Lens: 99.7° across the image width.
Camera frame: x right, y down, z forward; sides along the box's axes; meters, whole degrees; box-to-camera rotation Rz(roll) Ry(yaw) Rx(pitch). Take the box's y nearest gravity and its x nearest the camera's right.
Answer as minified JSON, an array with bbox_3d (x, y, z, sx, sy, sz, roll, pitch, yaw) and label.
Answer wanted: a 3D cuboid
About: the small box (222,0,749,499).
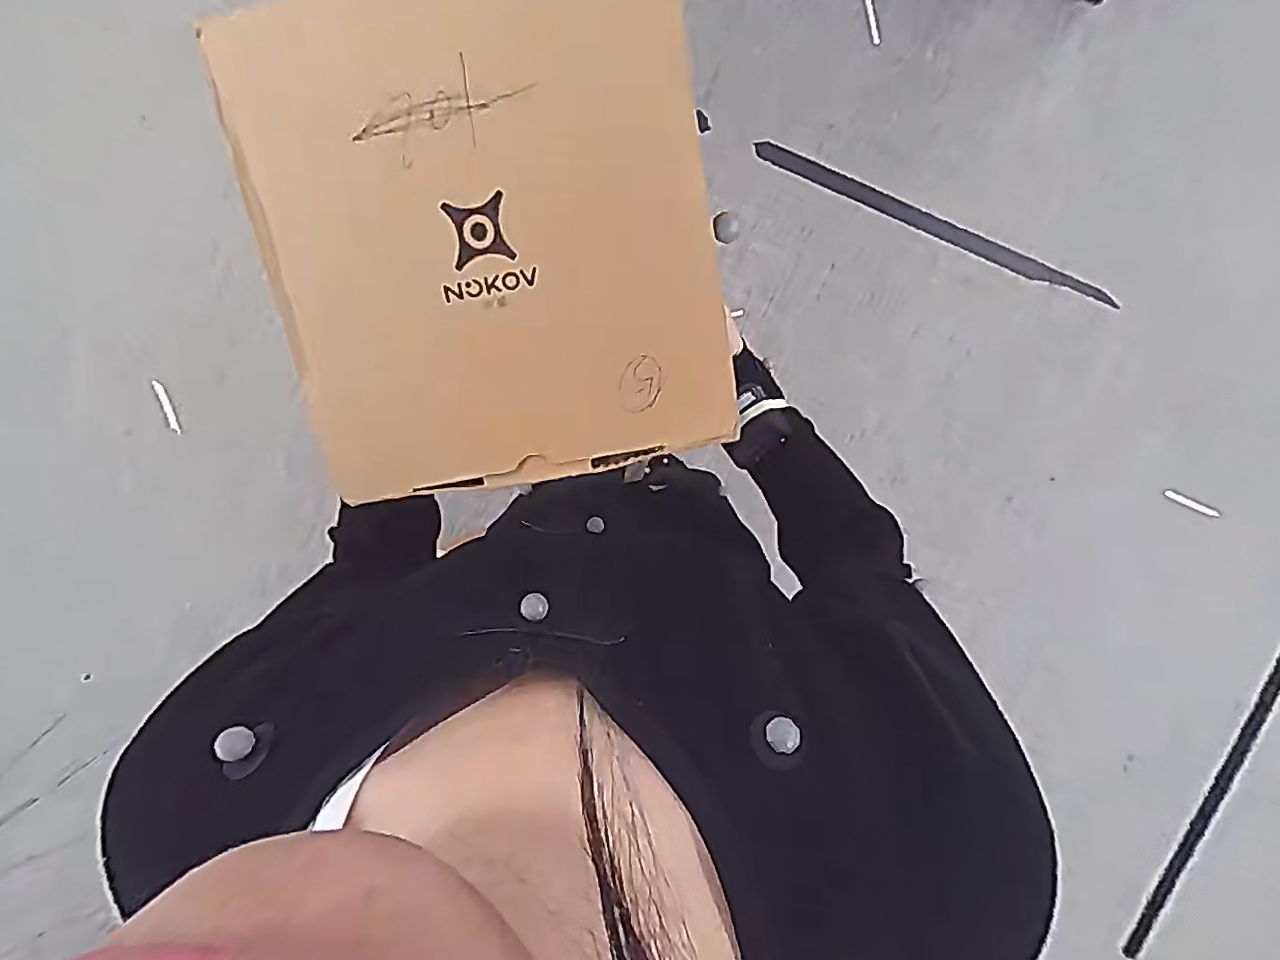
[{"bbox_3d":[-0.046,-0.105,0.276,0.168,0.176,0.179,-10,101,5],"label":"small box"}]
